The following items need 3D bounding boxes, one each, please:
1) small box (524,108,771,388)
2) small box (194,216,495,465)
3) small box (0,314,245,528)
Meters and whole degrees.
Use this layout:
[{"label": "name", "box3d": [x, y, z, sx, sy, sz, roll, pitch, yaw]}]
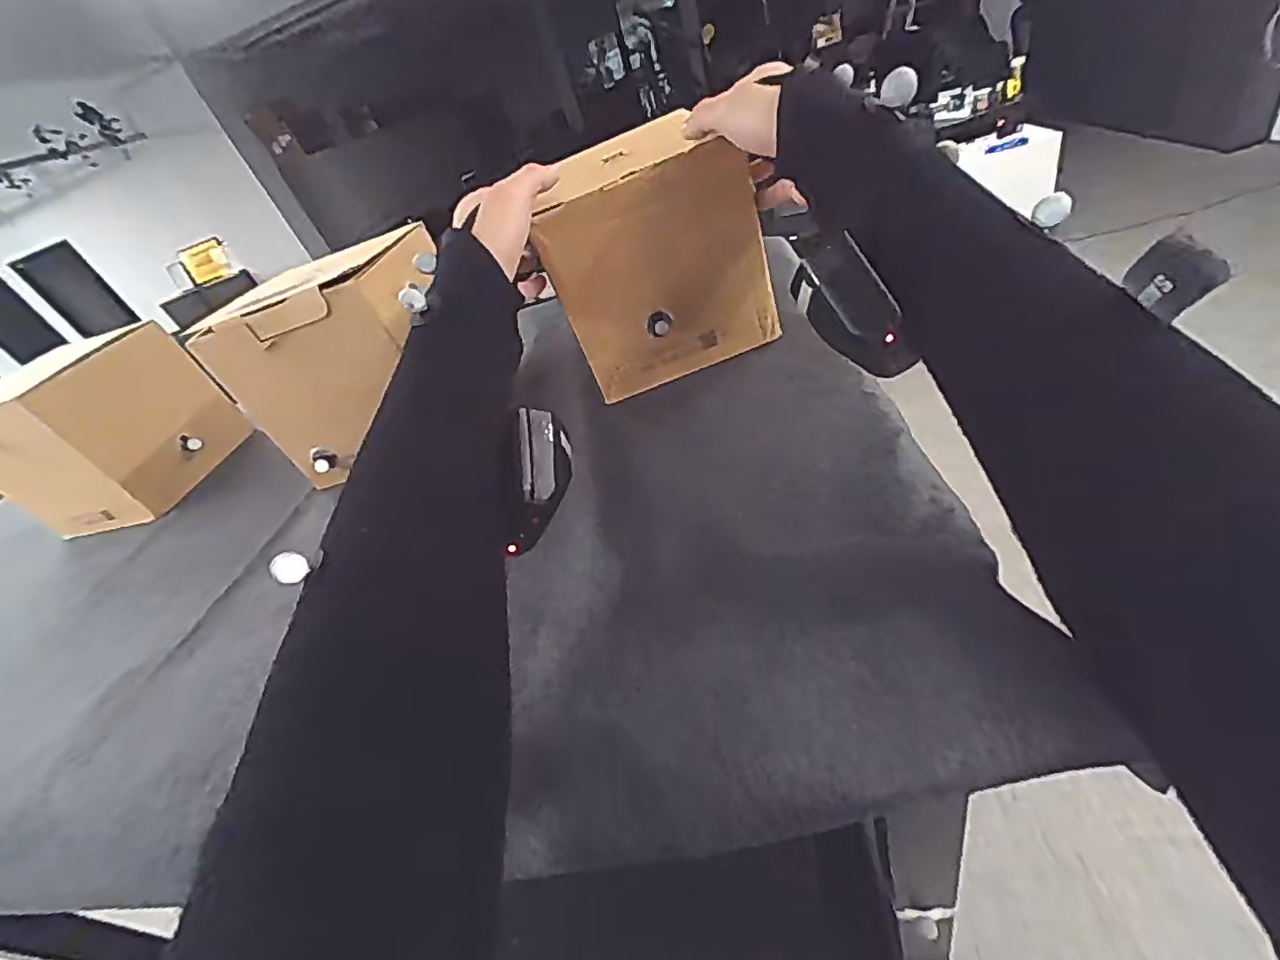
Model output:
[{"label": "small box", "box3d": [0.005, -0.212, 0.497, 0.168, 0.176, 0.179, -21, 39, 4]}, {"label": "small box", "box3d": [-0.266, -0.132, 0.540, 0.168, 0.176, 0.179, -14, 37, 10]}, {"label": "small box", "box3d": [-0.624, -0.068, 0.642, 0.168, 0.176, 0.179, -10, 39, 16]}]
